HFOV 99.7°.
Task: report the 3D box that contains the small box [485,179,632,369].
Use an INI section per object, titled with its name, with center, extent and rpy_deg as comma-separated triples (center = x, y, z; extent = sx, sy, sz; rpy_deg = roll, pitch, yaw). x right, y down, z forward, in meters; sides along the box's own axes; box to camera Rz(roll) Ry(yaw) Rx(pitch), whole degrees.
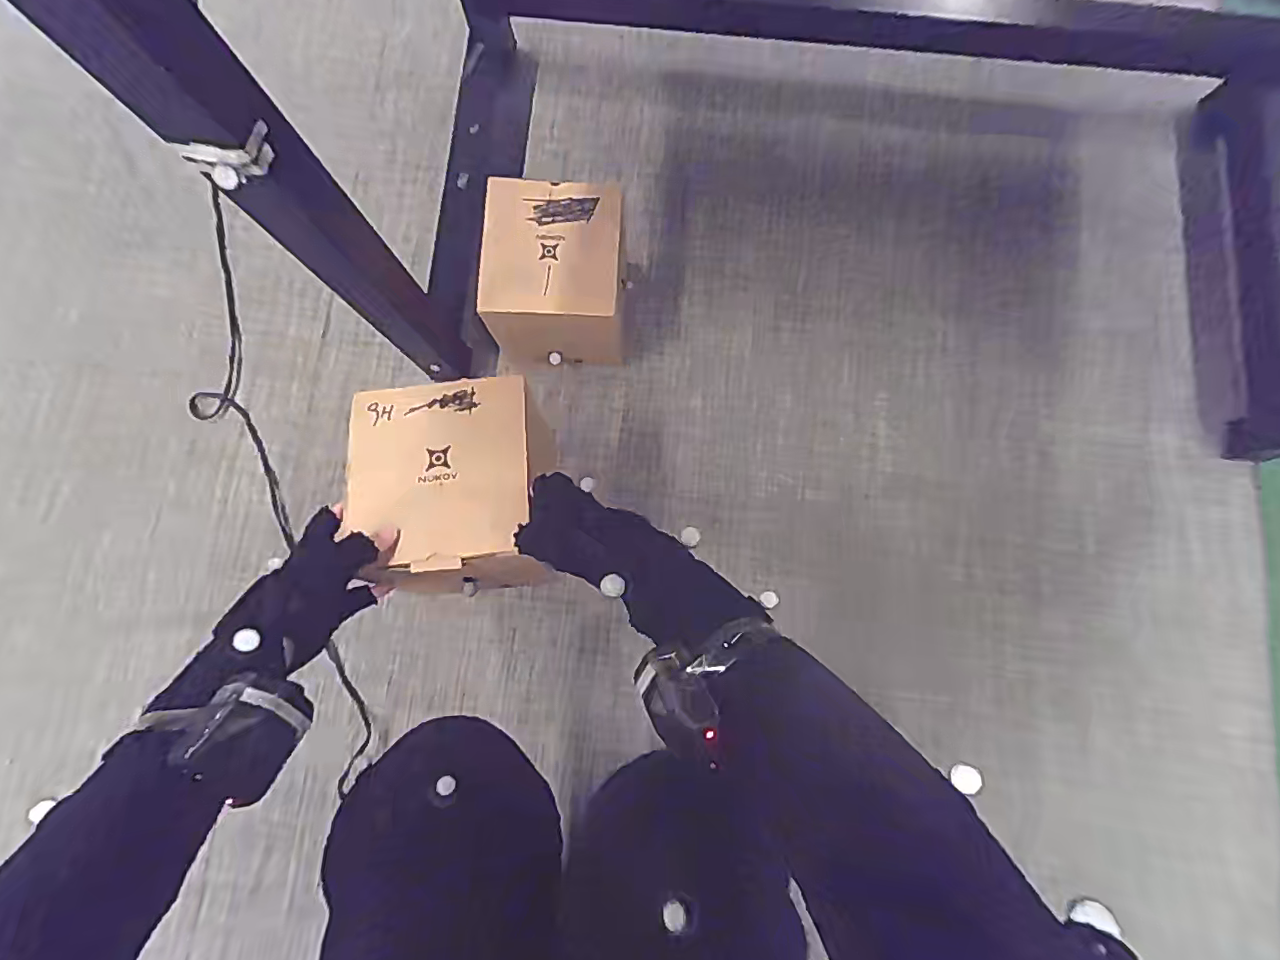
[small box]
center = -0.097, -0.265, 0.725
extent = 0.168, 0.176, 0.179
rpy_deg = 3, 81, 1
